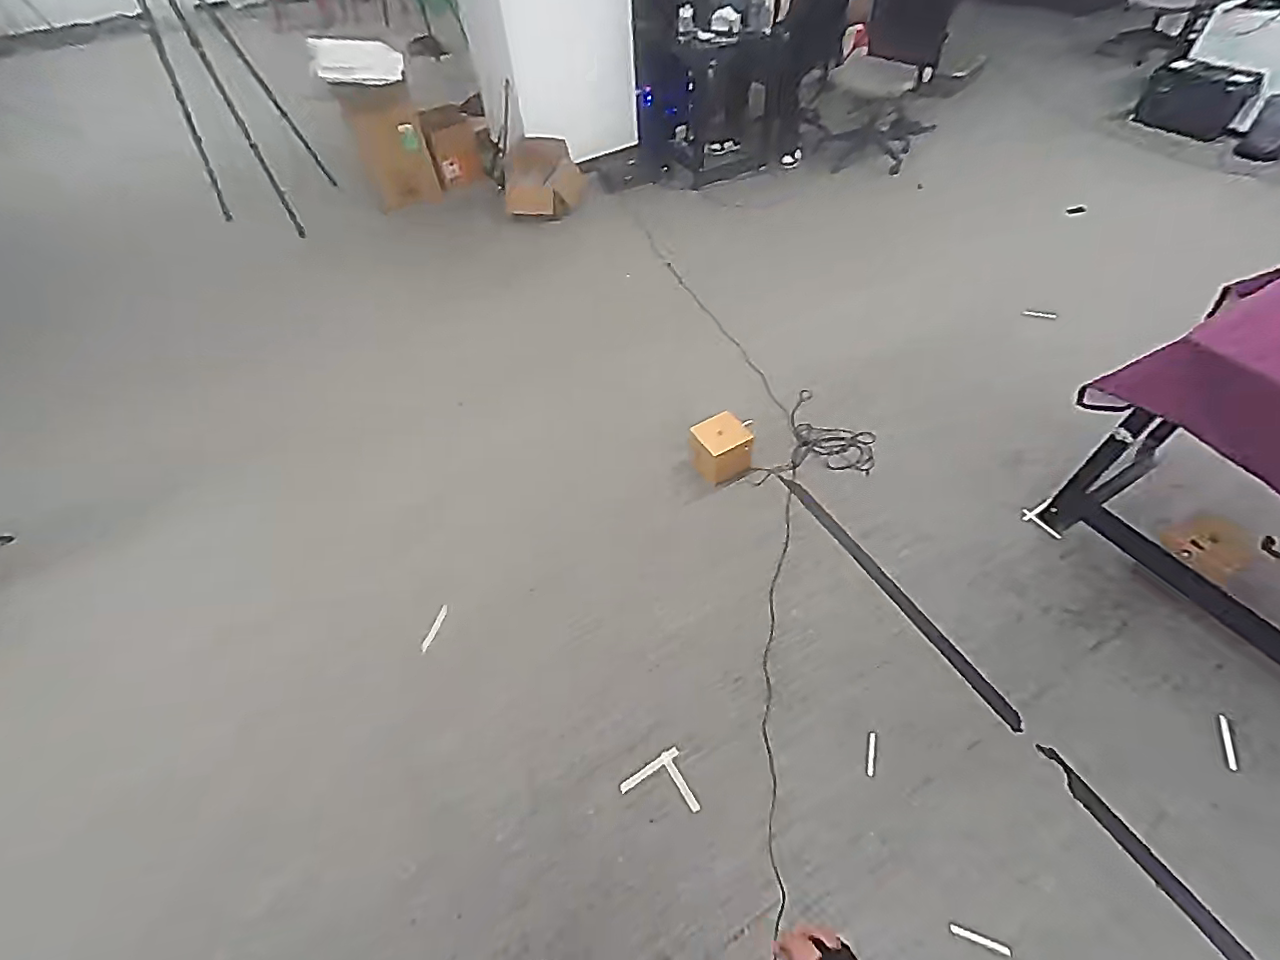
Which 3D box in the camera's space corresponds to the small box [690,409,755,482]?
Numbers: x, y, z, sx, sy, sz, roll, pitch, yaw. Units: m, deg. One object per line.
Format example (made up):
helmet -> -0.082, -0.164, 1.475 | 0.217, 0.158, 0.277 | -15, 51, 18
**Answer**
small box -> 0.300, -0.123, 1.986 | 0.179, 0.176, 0.168 | -27, 54, -16
